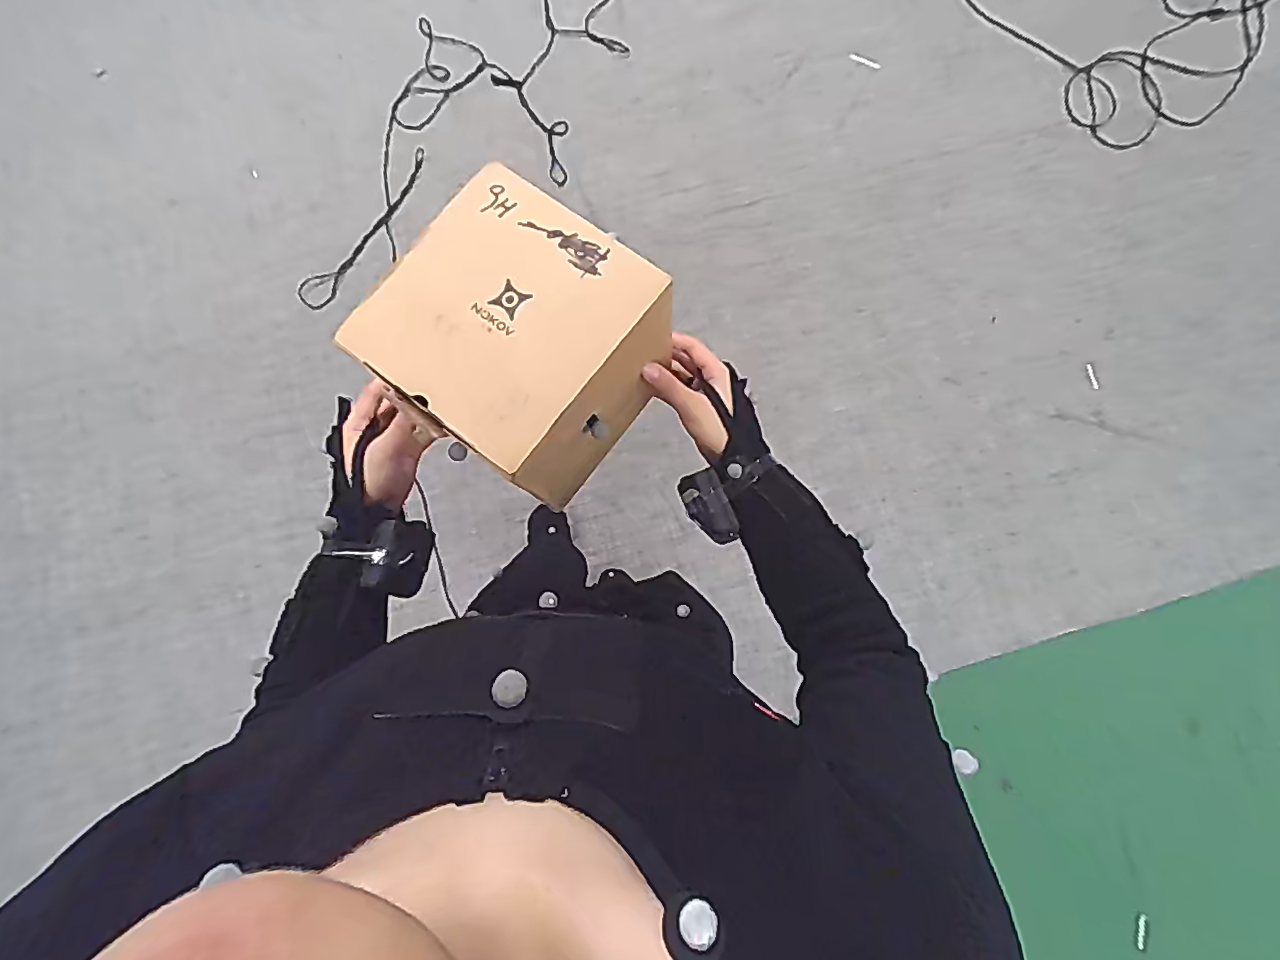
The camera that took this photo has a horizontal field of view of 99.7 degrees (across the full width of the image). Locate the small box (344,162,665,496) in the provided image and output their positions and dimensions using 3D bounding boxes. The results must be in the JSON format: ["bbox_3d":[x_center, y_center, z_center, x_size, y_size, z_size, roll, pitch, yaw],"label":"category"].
[{"bbox_3d":[-0.089,-0.106,0.454,0.168,0.176,0.179,37,84,9],"label":"small box"}]
